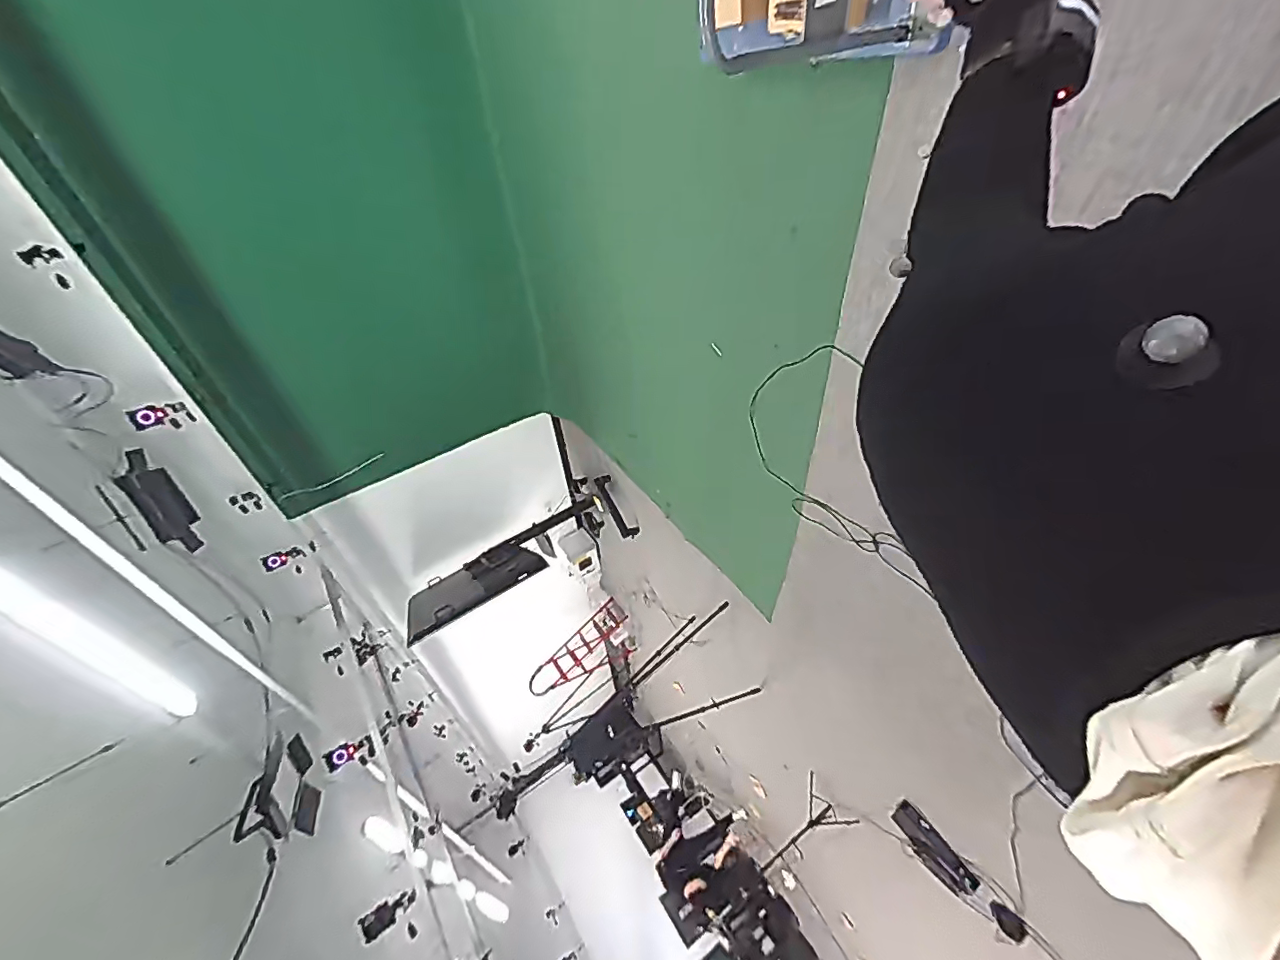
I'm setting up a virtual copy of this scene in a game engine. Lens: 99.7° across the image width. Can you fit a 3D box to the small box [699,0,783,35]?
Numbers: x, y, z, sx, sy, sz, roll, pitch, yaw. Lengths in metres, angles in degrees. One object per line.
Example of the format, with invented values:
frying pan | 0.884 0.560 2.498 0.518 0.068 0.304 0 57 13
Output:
small box | 0.279 -1.342 1.475 0.179 0.176 0.168 39 148 45
